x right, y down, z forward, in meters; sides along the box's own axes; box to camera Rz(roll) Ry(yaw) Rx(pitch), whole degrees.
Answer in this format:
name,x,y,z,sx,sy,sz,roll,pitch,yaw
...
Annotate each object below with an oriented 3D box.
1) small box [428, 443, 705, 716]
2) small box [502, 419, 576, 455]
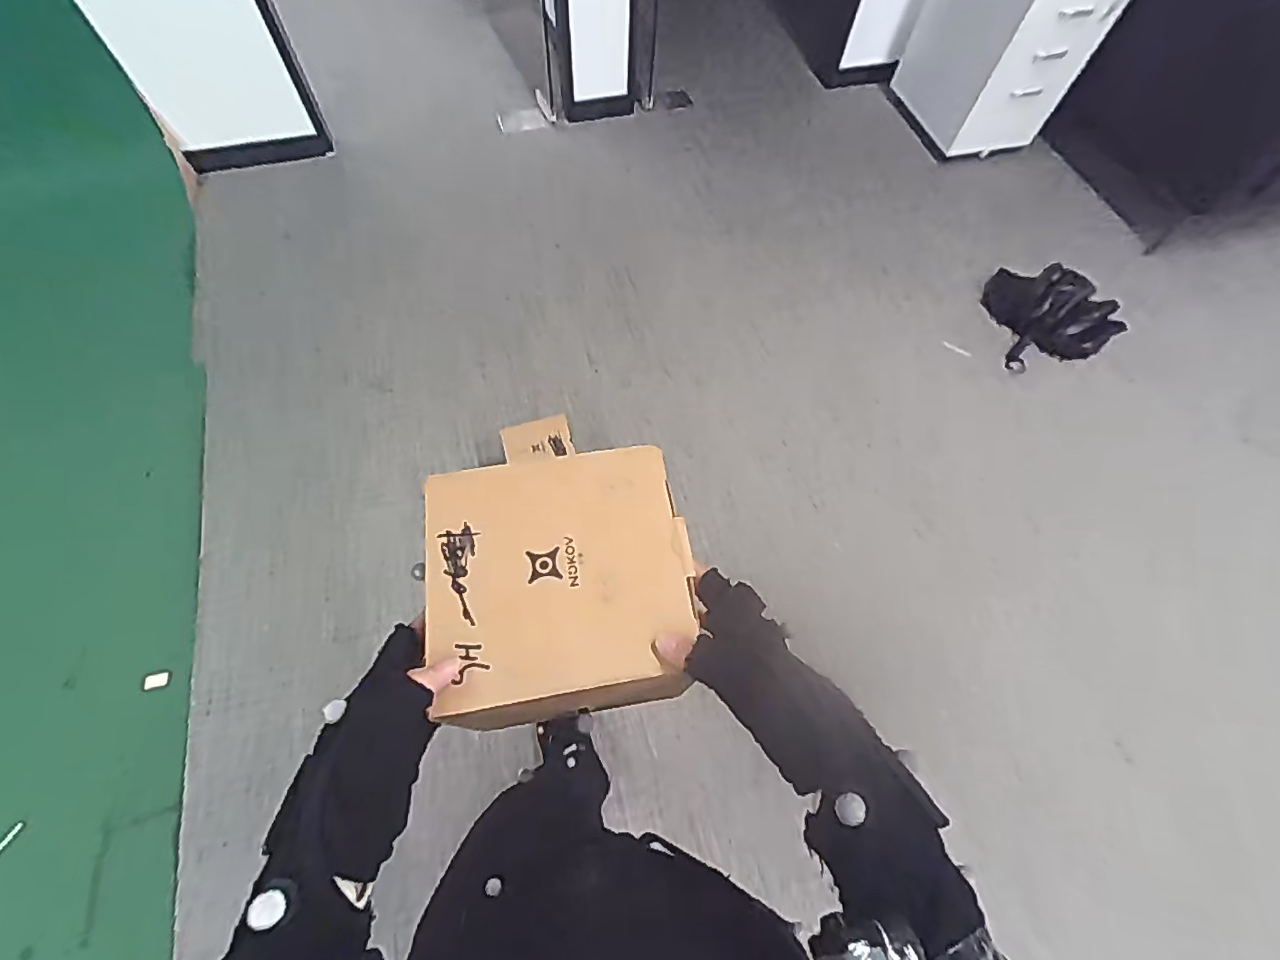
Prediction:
name,x,y,z,sx,sy,sz,roll,pitch,yaw
small box,-0.061,0.088,0.443,0.179,0.176,0.168,-7,62,-8
small box,-0.254,-0.035,1.442,0.179,0.176,0.168,-15,65,-9
